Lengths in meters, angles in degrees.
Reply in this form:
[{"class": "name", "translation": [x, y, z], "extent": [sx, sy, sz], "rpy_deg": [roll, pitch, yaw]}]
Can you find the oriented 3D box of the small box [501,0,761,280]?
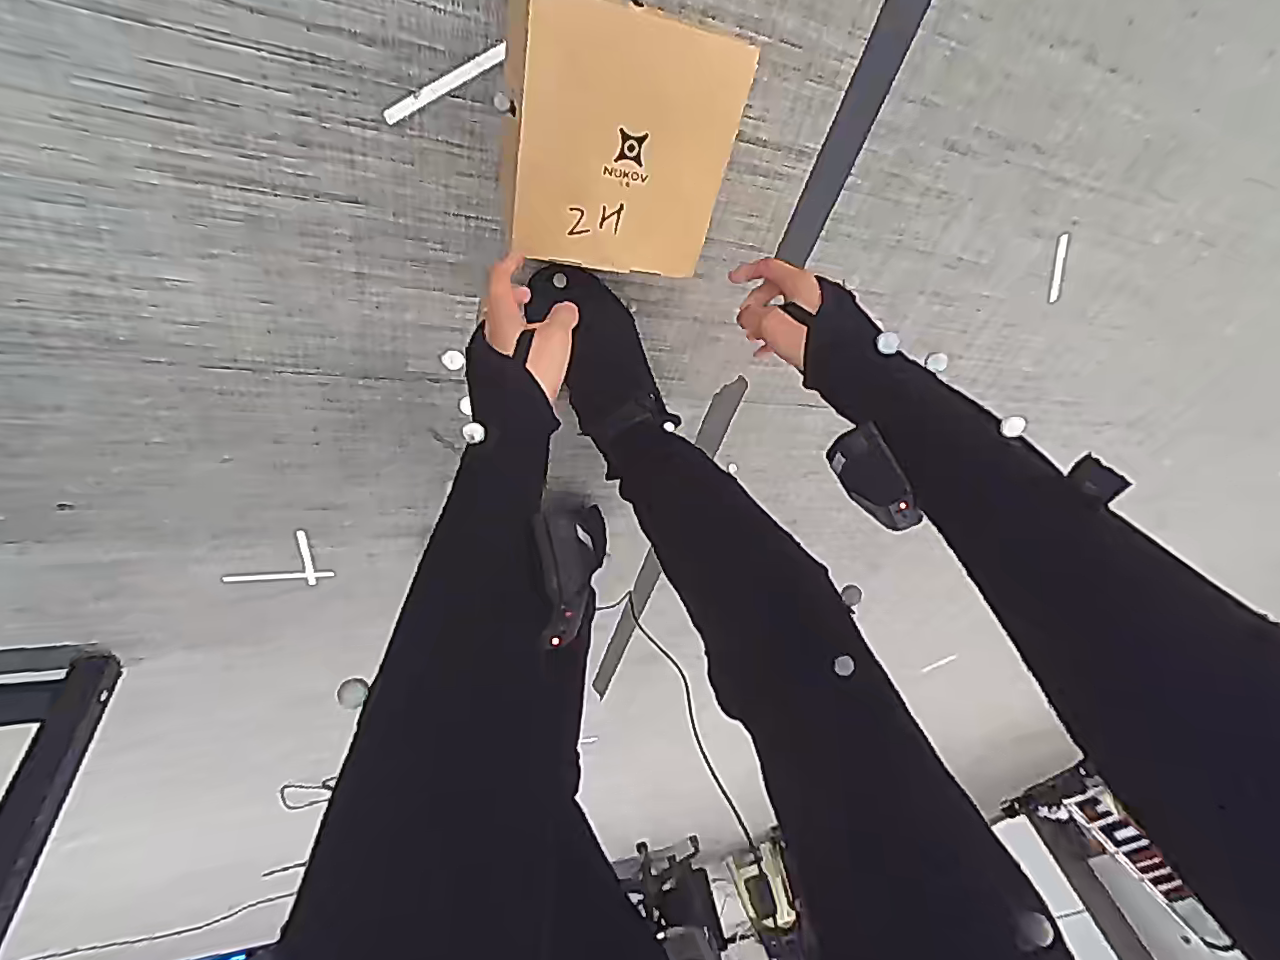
[{"class": "small box", "translation": [-0.028, -0.302, 0.467], "extent": [0.168, 0.176, 0.179], "rpy_deg": [1, 134, -19]}]
